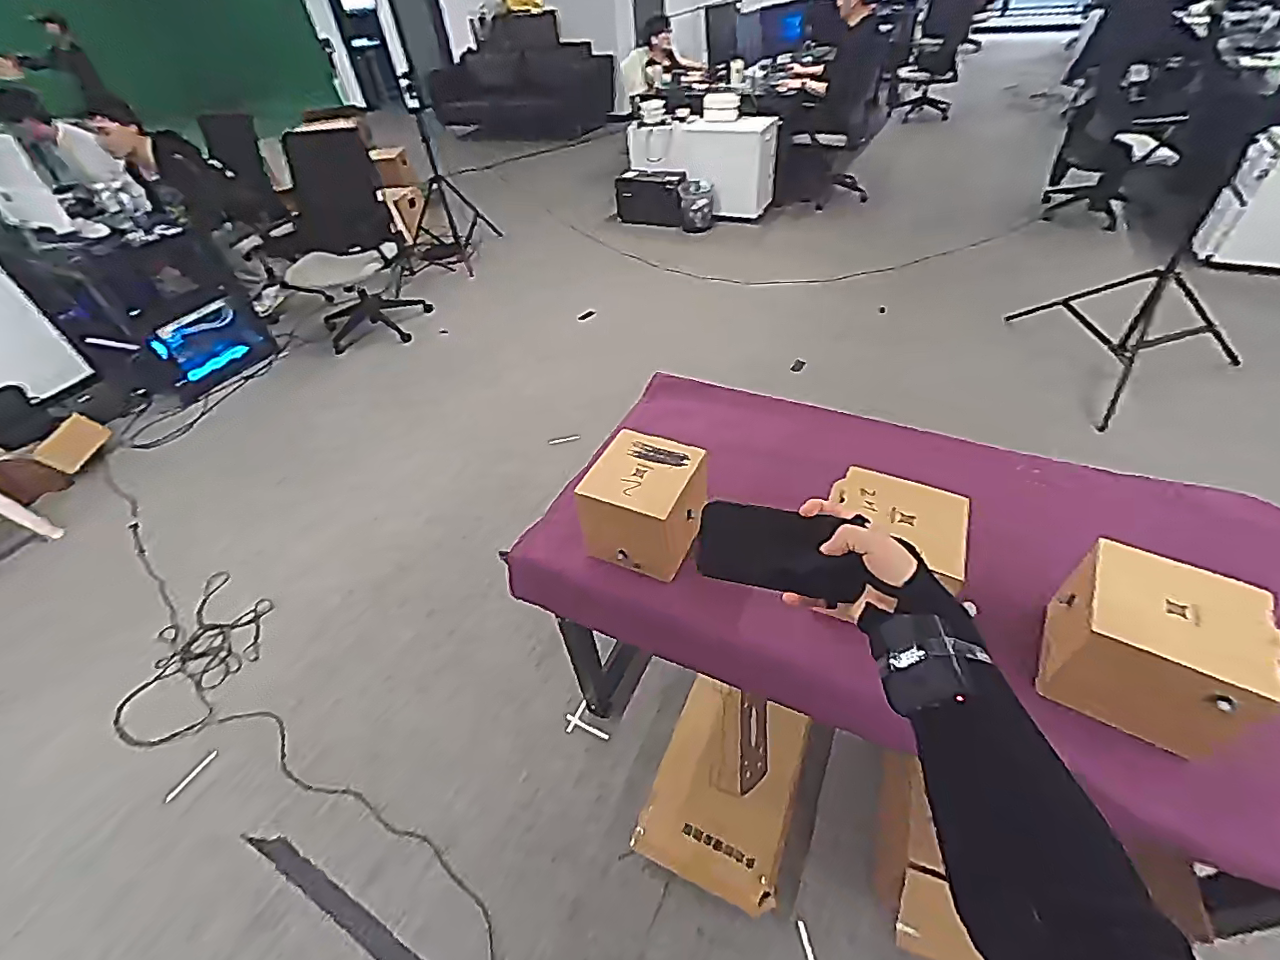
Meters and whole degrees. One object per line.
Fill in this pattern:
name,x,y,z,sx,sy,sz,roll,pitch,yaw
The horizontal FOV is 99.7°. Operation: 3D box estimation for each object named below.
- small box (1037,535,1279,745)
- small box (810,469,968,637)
small box,0.652,0.207,0.702,0.179,0.176,0.168,21,50,26
small box,0.376,0.113,0.830,0.179,0.176,0.168,15,45,21
